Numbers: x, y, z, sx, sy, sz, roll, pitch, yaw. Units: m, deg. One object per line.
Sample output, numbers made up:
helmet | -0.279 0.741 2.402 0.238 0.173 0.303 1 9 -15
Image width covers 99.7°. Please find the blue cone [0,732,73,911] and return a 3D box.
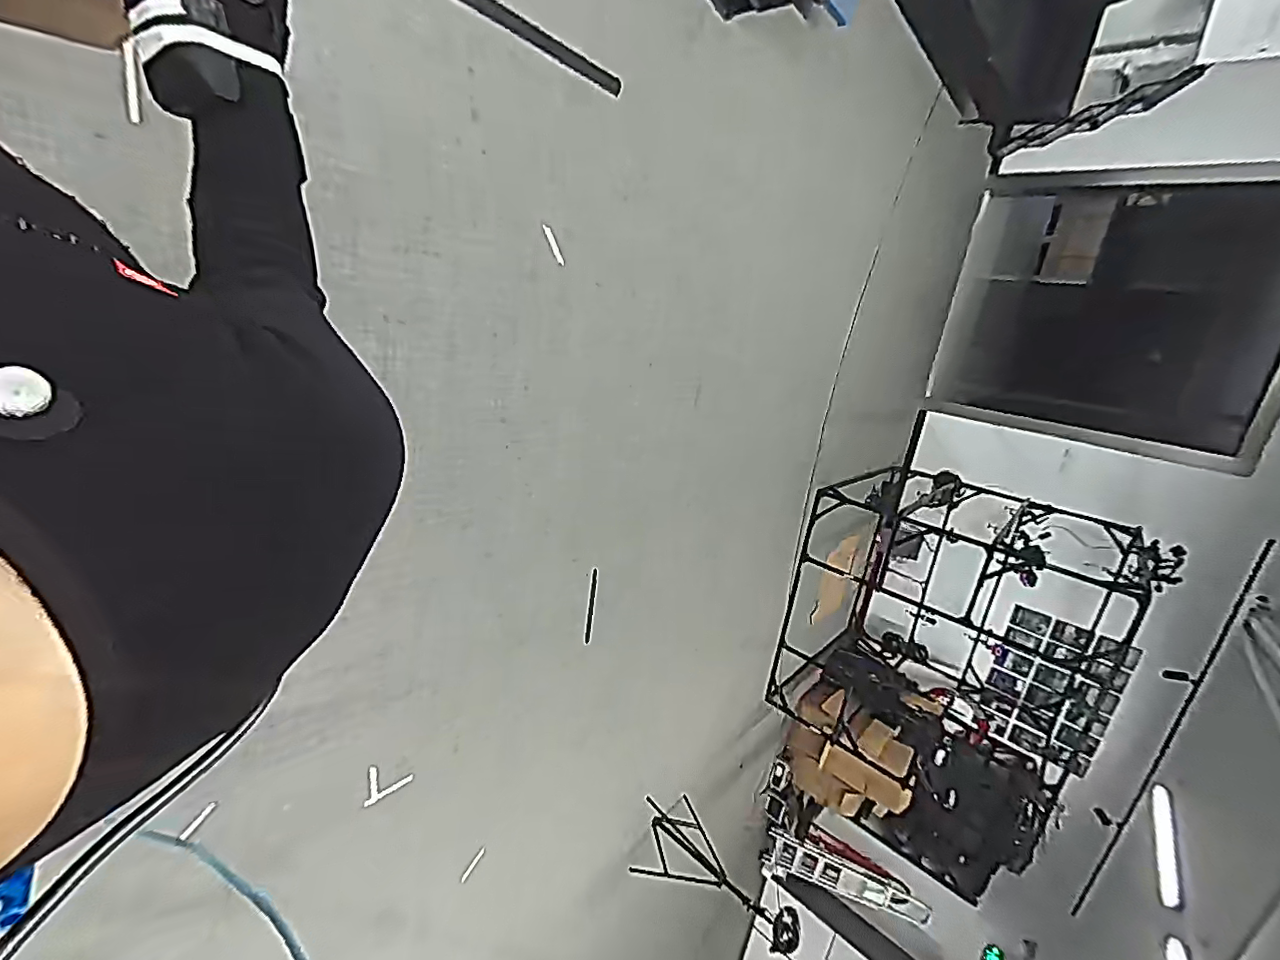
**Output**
blue cone | -1.223 0.679 1.039 0.193 0.380 0.192 22 89 -54

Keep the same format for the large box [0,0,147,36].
large box | -0.542 -0.491 0.261 0.408 0.320 0.320 -19 124 -47
